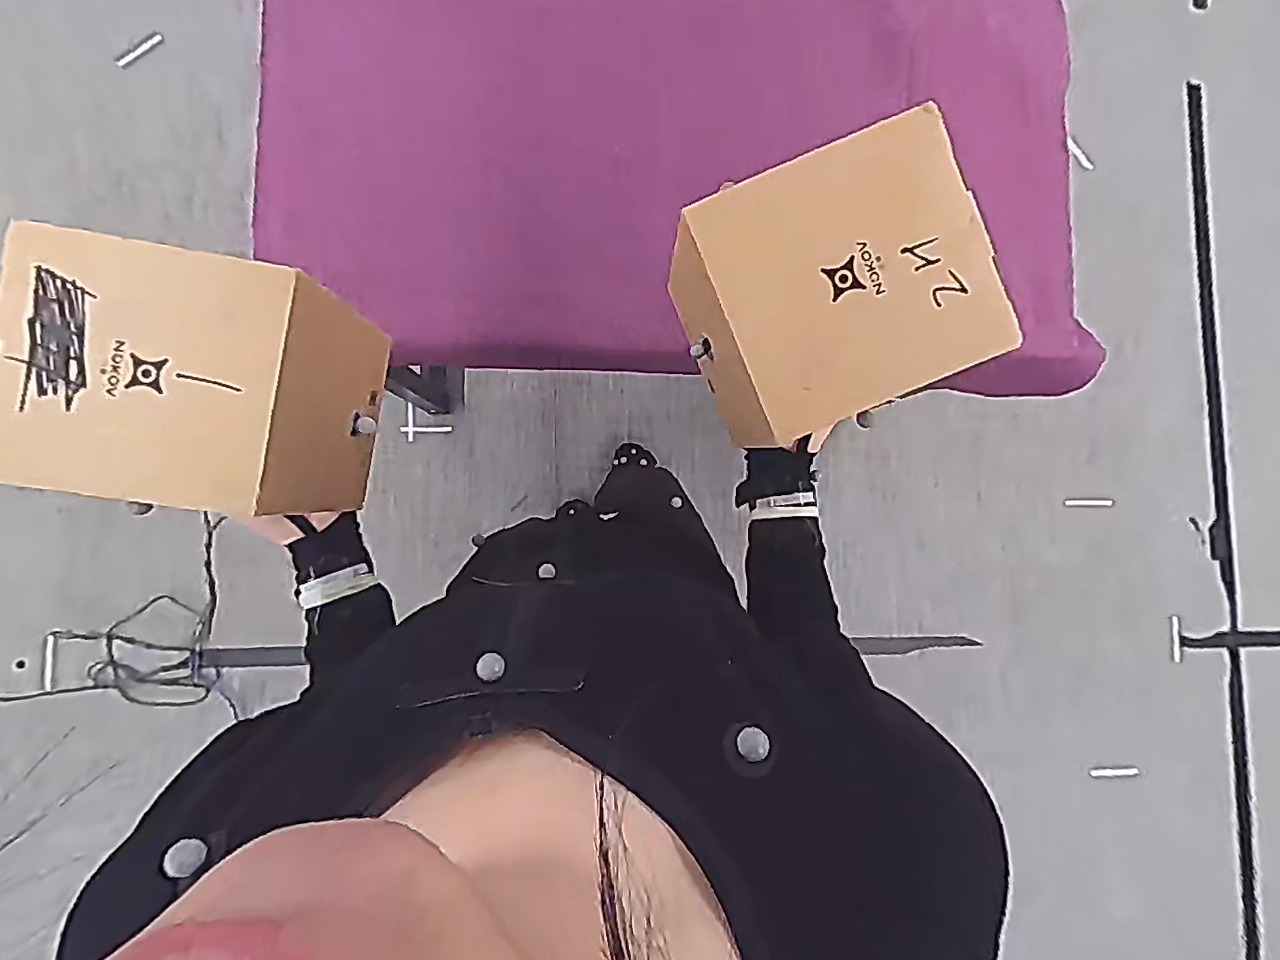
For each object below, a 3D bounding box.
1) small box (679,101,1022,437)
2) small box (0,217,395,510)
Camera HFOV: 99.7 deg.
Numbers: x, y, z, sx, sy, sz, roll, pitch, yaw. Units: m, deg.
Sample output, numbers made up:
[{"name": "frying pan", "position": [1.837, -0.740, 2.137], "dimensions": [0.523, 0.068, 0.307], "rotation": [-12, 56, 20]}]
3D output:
[{"name": "small box", "position": [0.138, -0.138, 0.427], "dimensions": [0.179, 0.176, 0.168], "rotation": [-23, 94, 0]}, {"name": "small box", "position": [-0.319, -0.070, 0.420], "dimensions": [0.179, 0.176, 0.168], "rotation": [8, 88, -5]}]
